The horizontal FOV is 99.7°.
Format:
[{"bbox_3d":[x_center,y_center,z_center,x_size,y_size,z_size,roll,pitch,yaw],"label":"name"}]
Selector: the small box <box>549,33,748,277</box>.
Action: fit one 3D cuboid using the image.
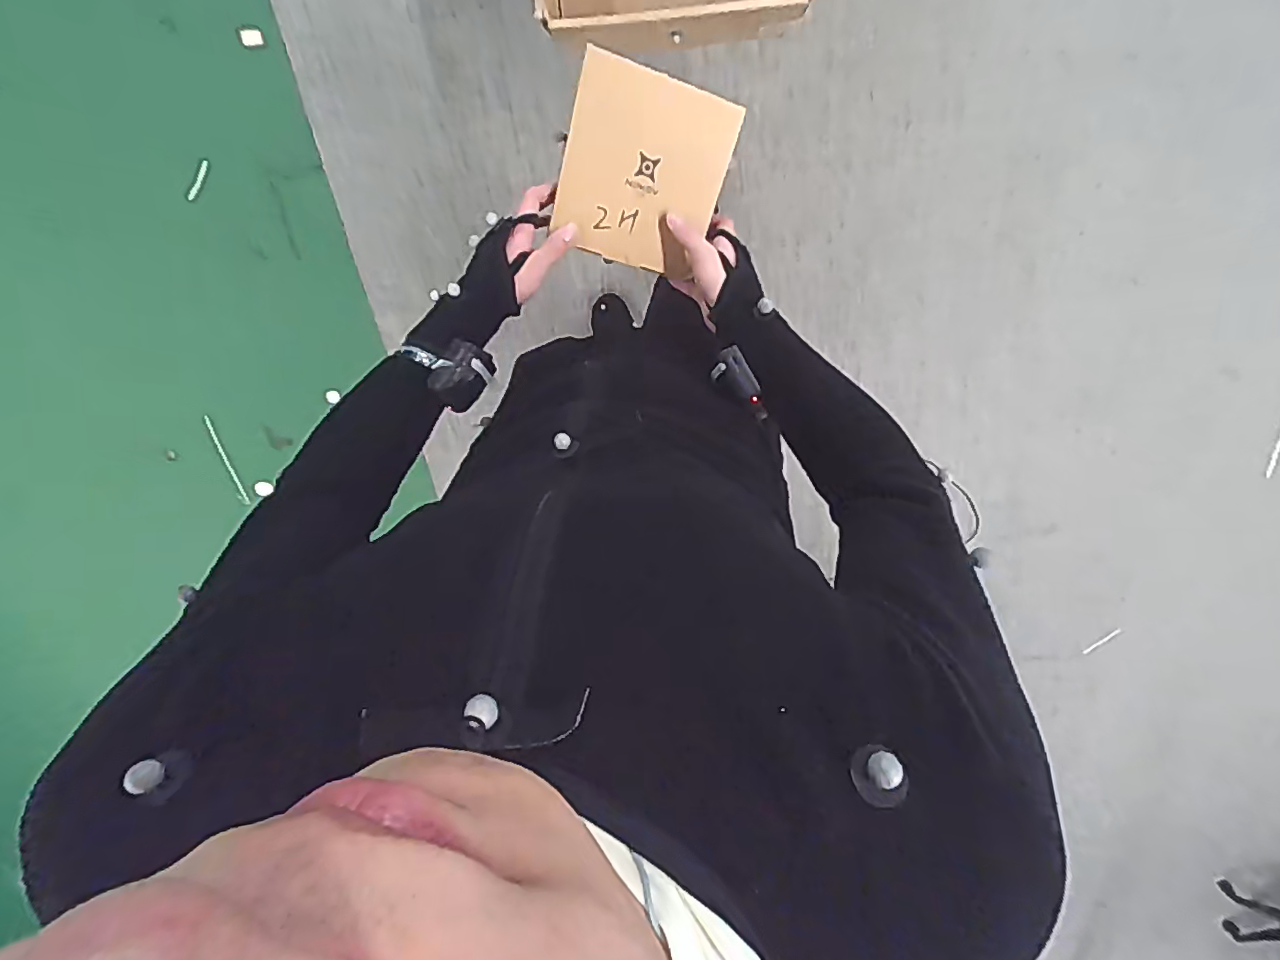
[{"bbox_3d":[-0.006,-0.355,0.614,0.168,0.176,0.179,12,118,-15],"label":"small box"}]
